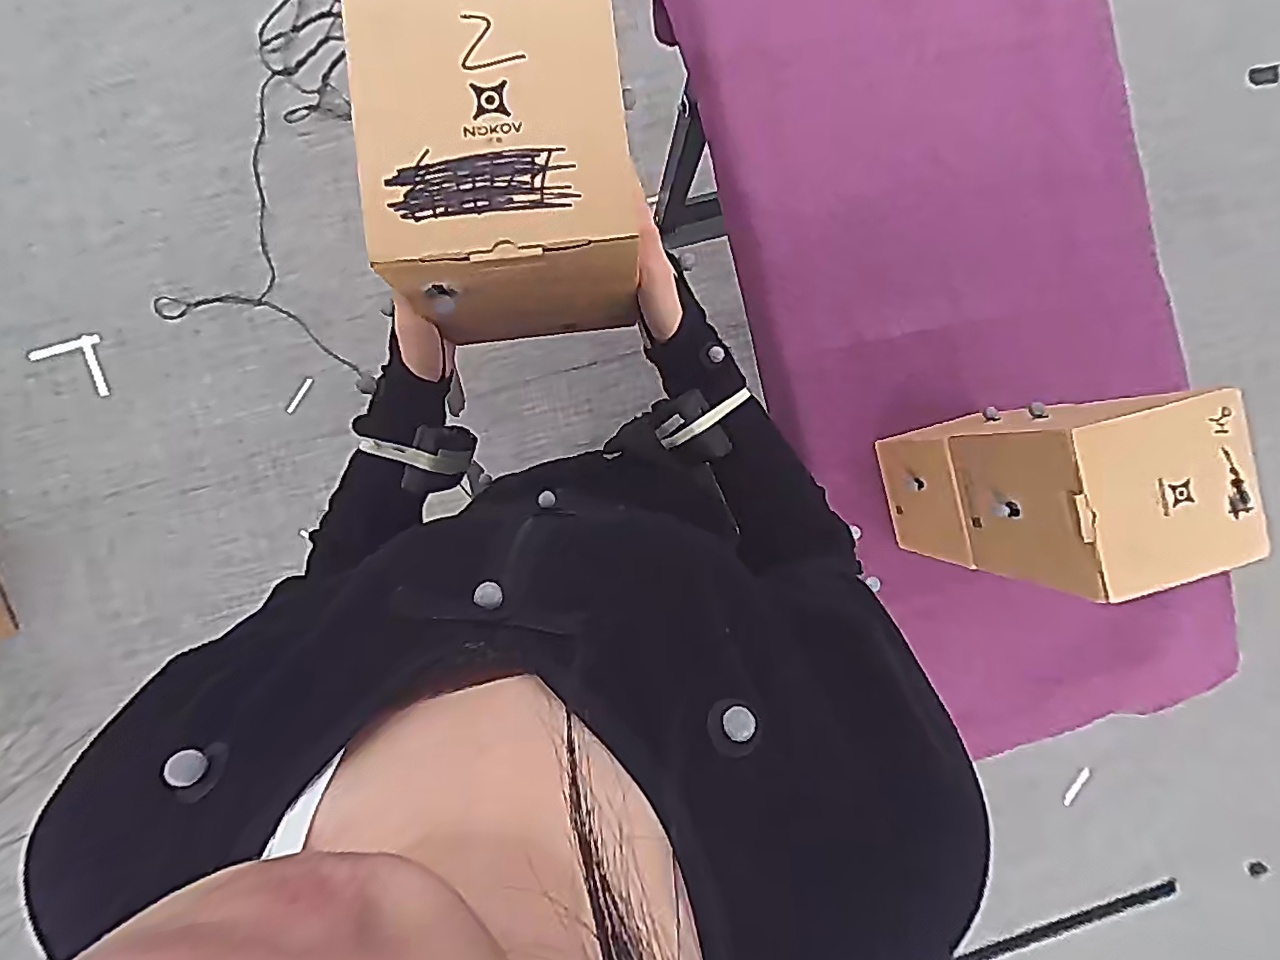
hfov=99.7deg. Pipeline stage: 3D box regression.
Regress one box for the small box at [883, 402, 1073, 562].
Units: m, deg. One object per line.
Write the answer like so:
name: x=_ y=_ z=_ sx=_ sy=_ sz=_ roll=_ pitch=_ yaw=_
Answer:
small box: x=0.458 y=0.001 z=0.737 sx=0.179 sy=0.176 sz=0.168 roll=-15 pitch=93 yaw=-5

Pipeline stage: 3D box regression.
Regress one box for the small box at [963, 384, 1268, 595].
small box: x=0.477 y=0.007 z=0.575 sx=0.179 sy=0.176 sz=0.168 roll=-14 pitch=93 yaw=-4
